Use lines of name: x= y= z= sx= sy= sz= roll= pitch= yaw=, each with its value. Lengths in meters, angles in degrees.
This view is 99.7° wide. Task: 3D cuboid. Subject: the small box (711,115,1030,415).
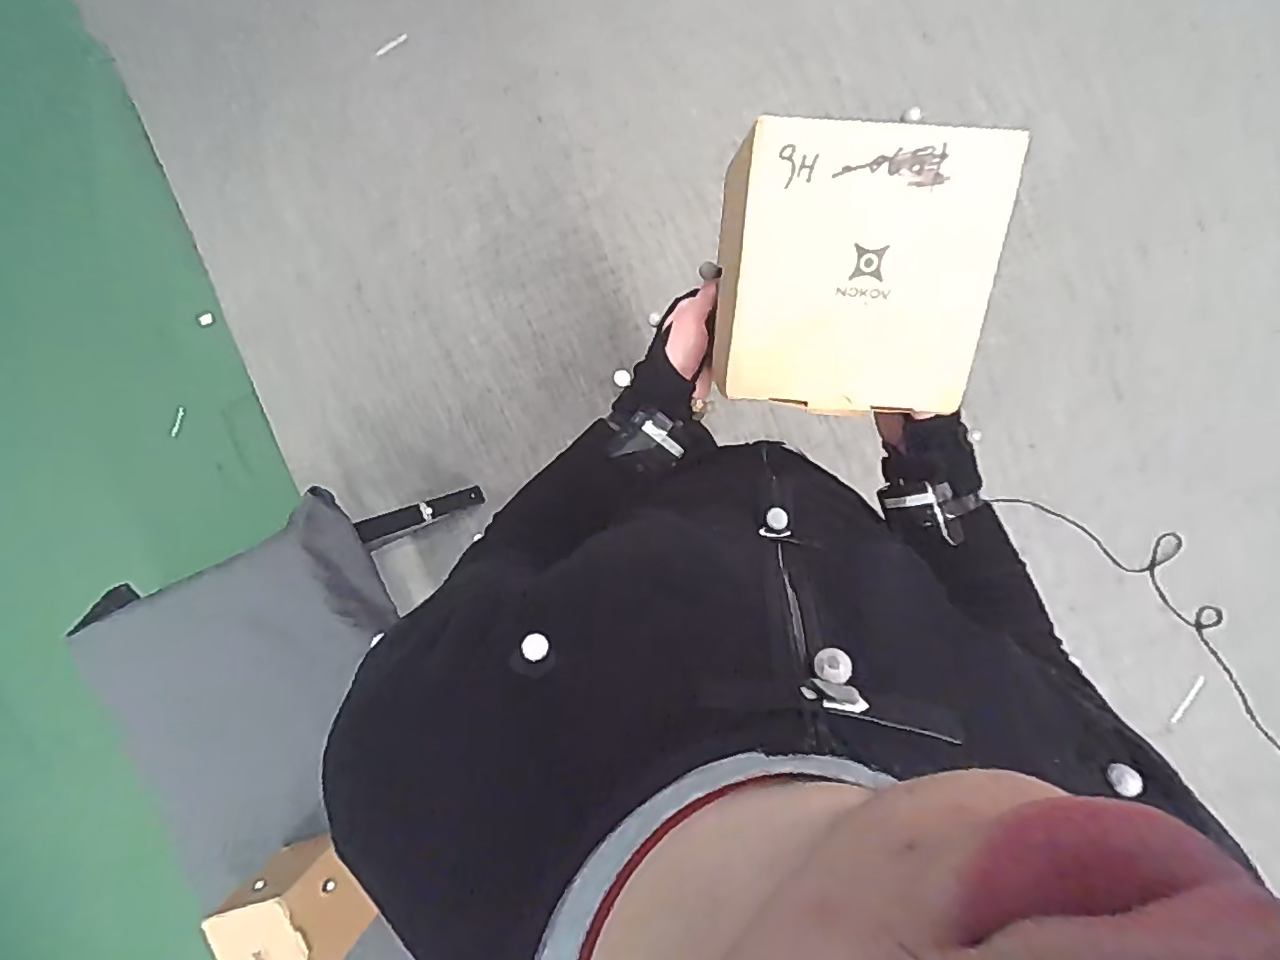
small box: x=0.151 y=-0.163 z=0.430 sx=0.168 sy=0.176 sz=0.179 roll=4 pitch=112 yaw=0

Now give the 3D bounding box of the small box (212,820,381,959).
small box: x=-0.605 y=0.758 z=0.980 sx=0.179 sy=0.176 sz=0.168 roll=-23 pitch=91 yaw=14
